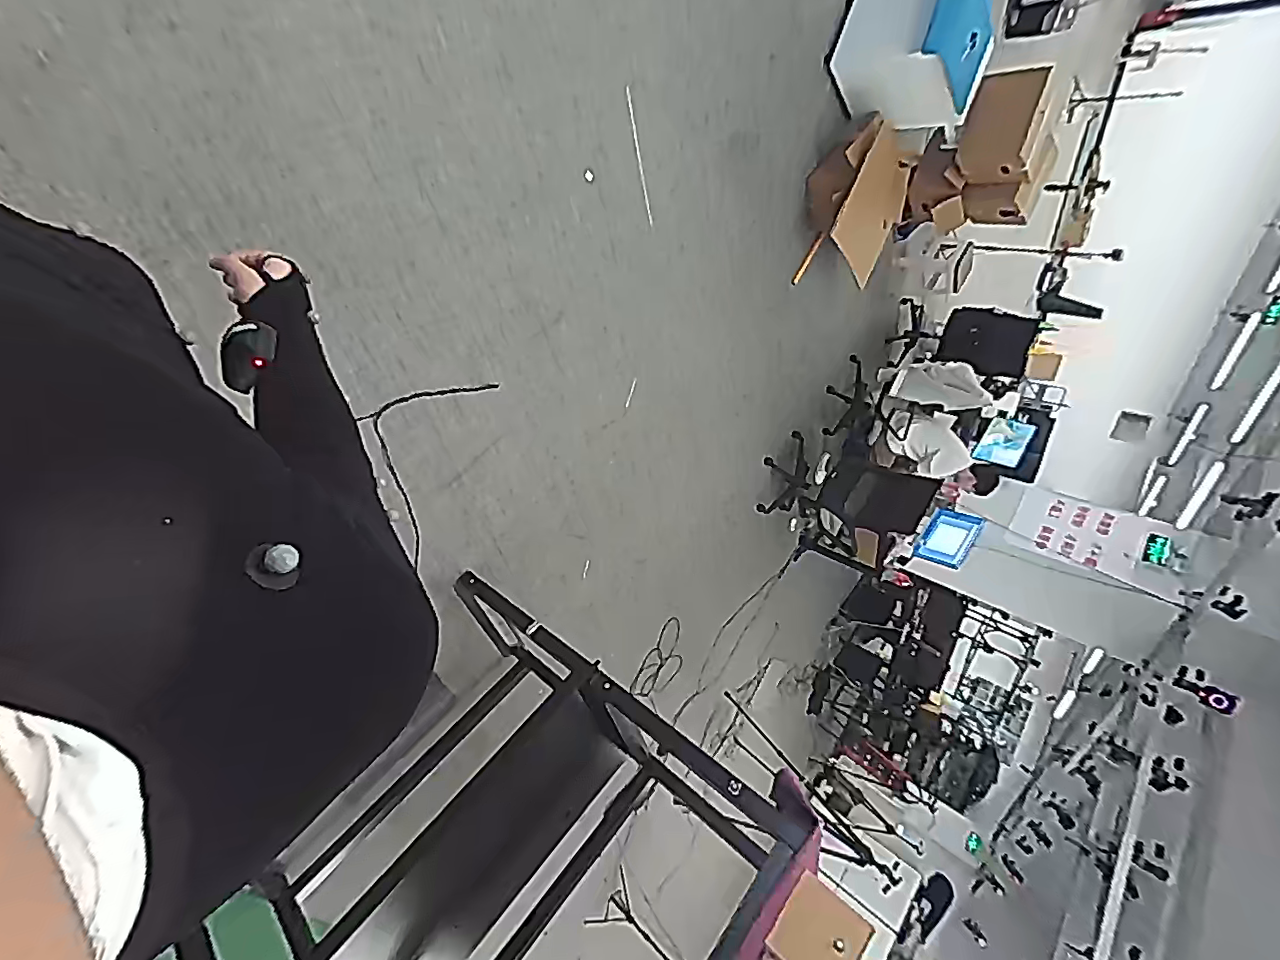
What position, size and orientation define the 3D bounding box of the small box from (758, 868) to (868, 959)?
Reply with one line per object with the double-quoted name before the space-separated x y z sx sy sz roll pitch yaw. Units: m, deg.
"small box" 0.382 1.023 1.211 0.179 0.176 0.168 -41 138 -28
